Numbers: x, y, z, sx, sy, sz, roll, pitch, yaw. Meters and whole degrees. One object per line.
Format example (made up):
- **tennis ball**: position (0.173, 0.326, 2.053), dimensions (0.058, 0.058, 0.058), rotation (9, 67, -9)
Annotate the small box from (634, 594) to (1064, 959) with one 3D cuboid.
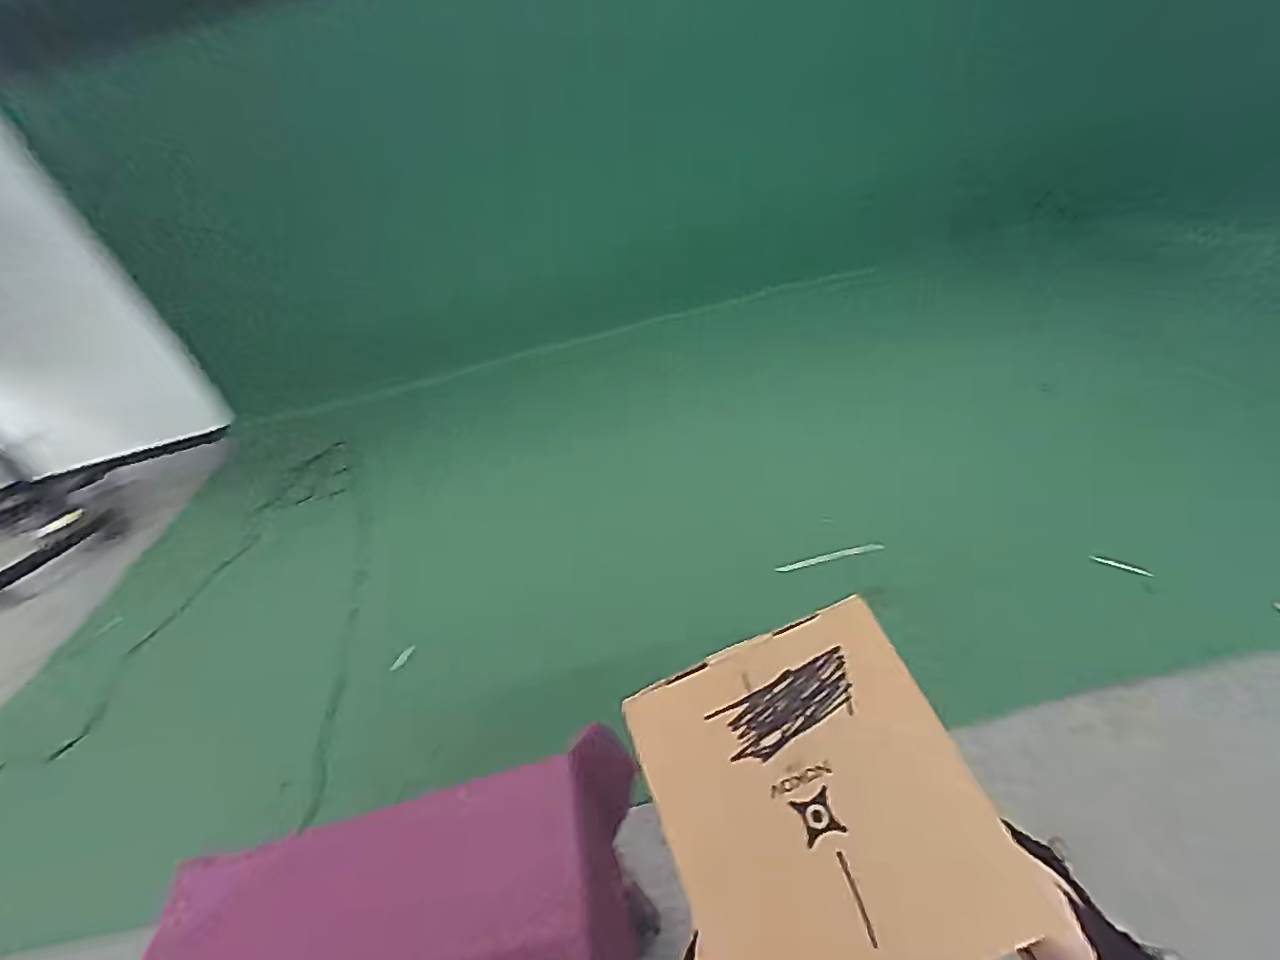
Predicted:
- **small box**: position (0.113, 0.206, 0.364), dimensions (0.168, 0.176, 0.179), rotation (-24, 60, 1)
